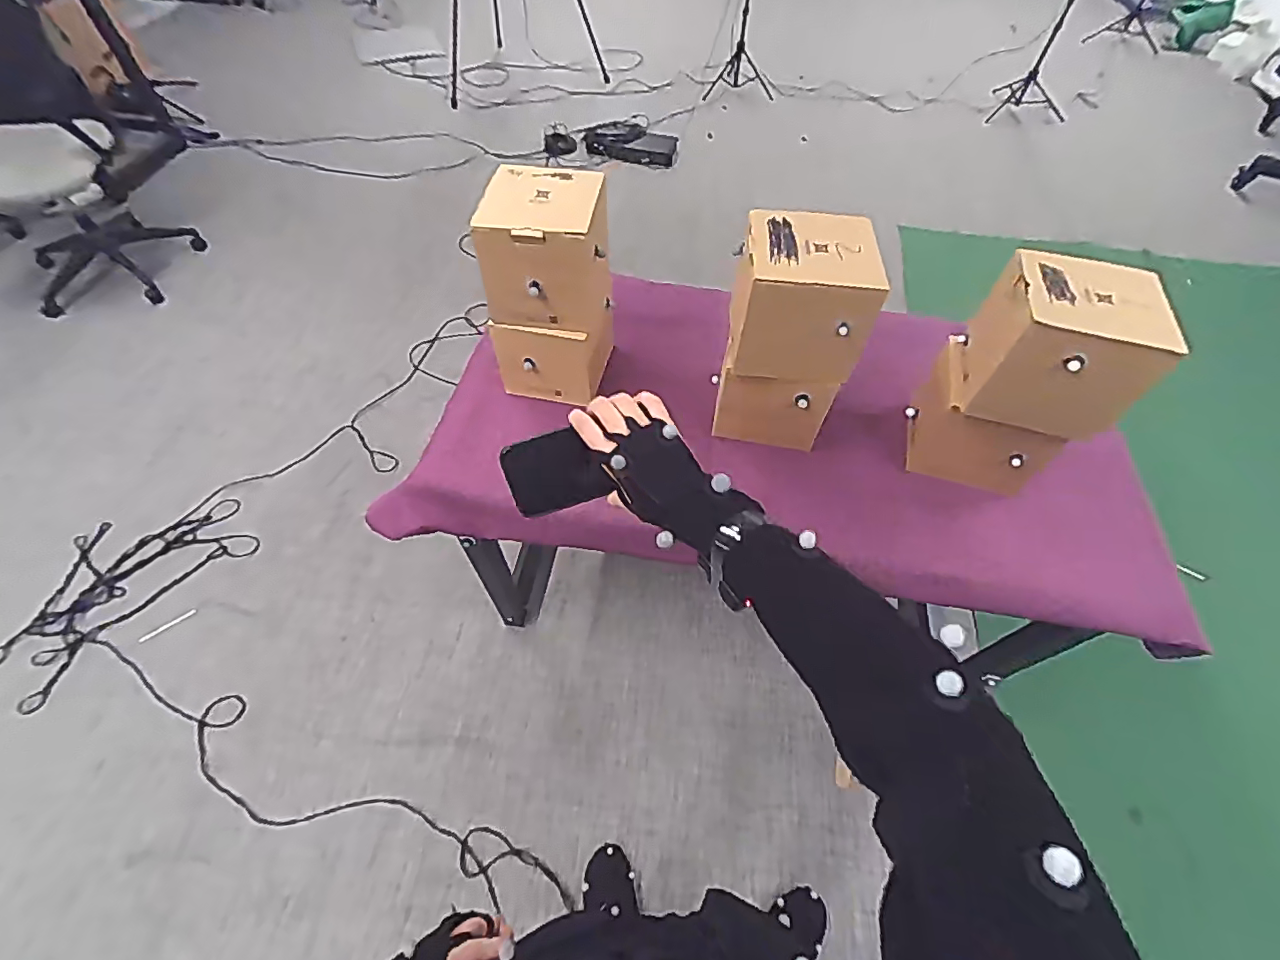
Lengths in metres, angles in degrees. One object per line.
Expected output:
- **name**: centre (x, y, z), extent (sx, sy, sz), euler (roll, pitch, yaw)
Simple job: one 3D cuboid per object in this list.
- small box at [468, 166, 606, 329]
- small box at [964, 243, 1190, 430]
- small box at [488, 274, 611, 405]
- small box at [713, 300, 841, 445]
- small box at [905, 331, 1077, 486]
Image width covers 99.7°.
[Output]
- **small box**: centre (-0.147, -0.358, 0.845), extent (0.168, 0.176, 0.179), euler (6, 56, 2)
- **small box**: centre (0.569, -0.191, 0.740), extent (0.179, 0.176, 0.168), euler (15, 56, 8)
- **small box**: centre (-0.150, -0.258, 0.975), extent (0.168, 0.176, 0.179), euler (10, 56, 6)
- **small box**: centre (0.229, -0.178, 0.924), extent (0.179, 0.176, 0.168), euler (9, 55, 6)
- **small box**: centre (0.561, -0.111, 0.884), extent (0.179, 0.176, 0.168), euler (14, 56, 9)
